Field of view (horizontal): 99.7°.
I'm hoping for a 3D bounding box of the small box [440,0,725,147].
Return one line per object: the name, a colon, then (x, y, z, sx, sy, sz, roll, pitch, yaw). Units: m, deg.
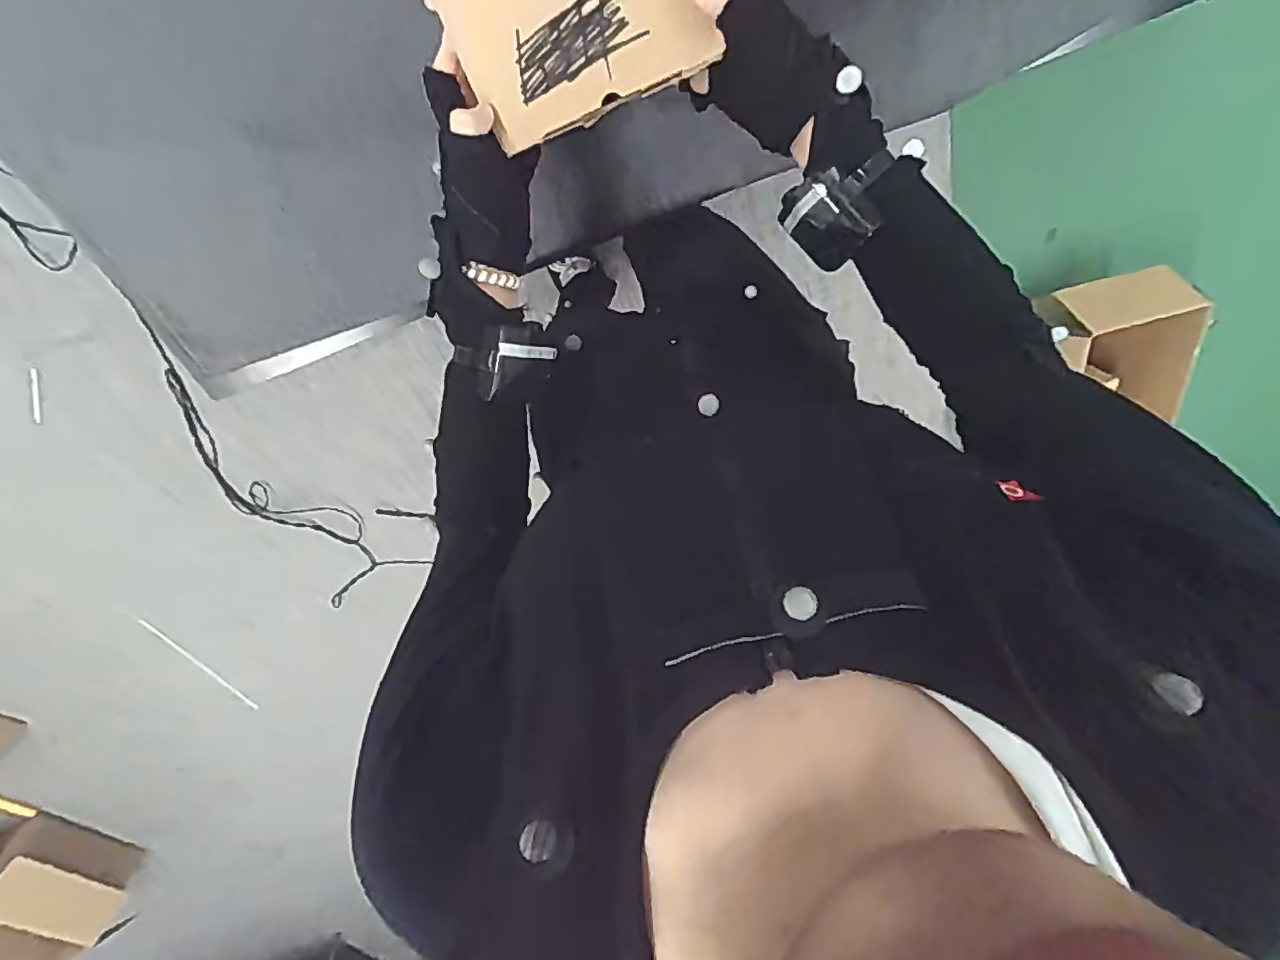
small box: (-0.055, -0.369, 0.374, 0.168, 0.176, 0.179, -20, 129, 7)
